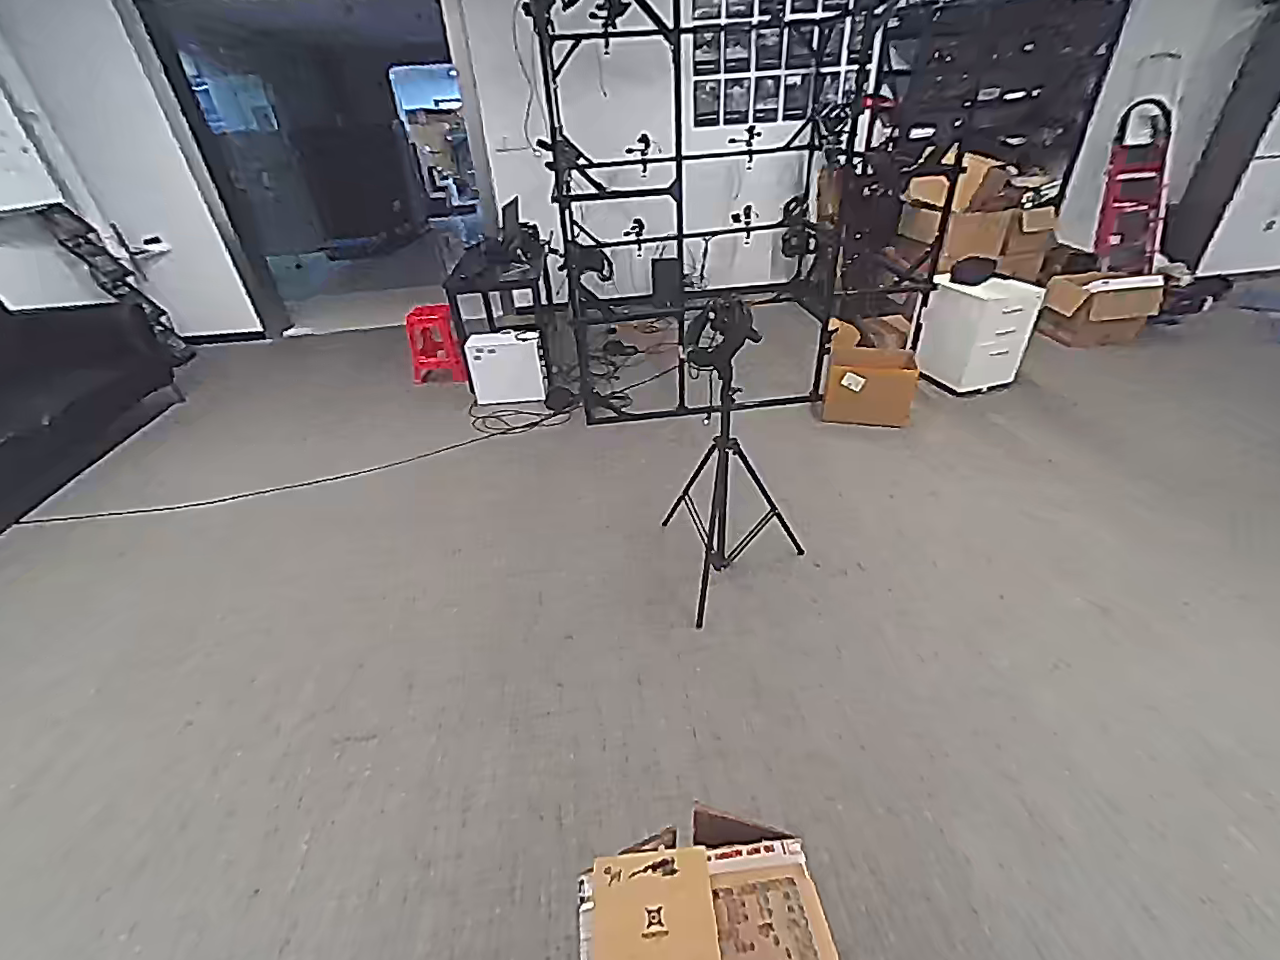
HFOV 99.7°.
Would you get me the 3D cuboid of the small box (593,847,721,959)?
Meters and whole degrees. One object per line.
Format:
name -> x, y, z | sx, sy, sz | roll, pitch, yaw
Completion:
small box -> 0.027, 0.652, 0.758 | 0.168, 0.176, 0.179 | -6, 36, 0
